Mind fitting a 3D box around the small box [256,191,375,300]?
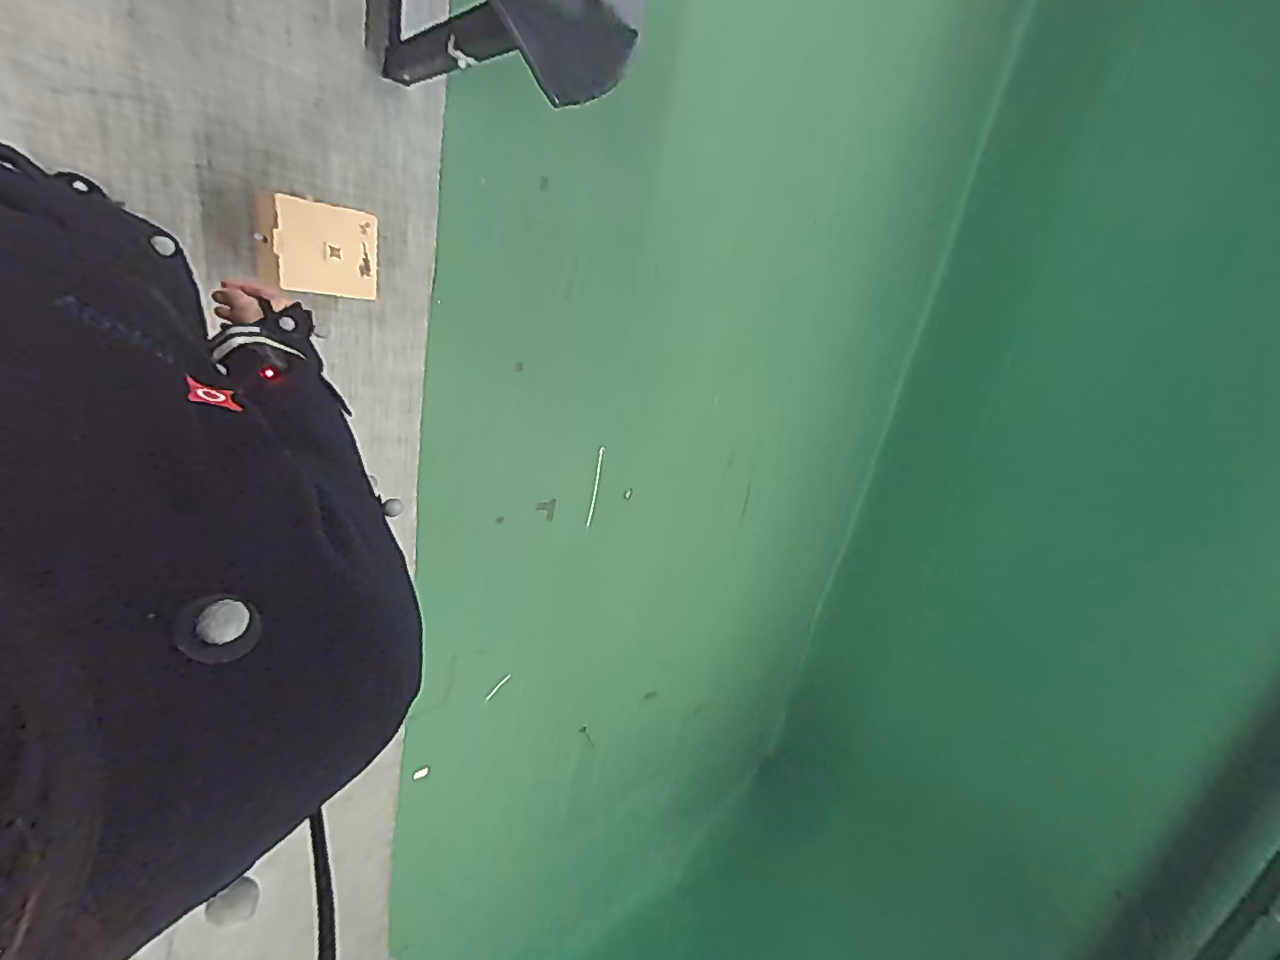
[{"bbox_3d":[-0.653,-0.465,1.084,0.179,0.176,0.168,-8,115,-44],"label":"small box"}]
